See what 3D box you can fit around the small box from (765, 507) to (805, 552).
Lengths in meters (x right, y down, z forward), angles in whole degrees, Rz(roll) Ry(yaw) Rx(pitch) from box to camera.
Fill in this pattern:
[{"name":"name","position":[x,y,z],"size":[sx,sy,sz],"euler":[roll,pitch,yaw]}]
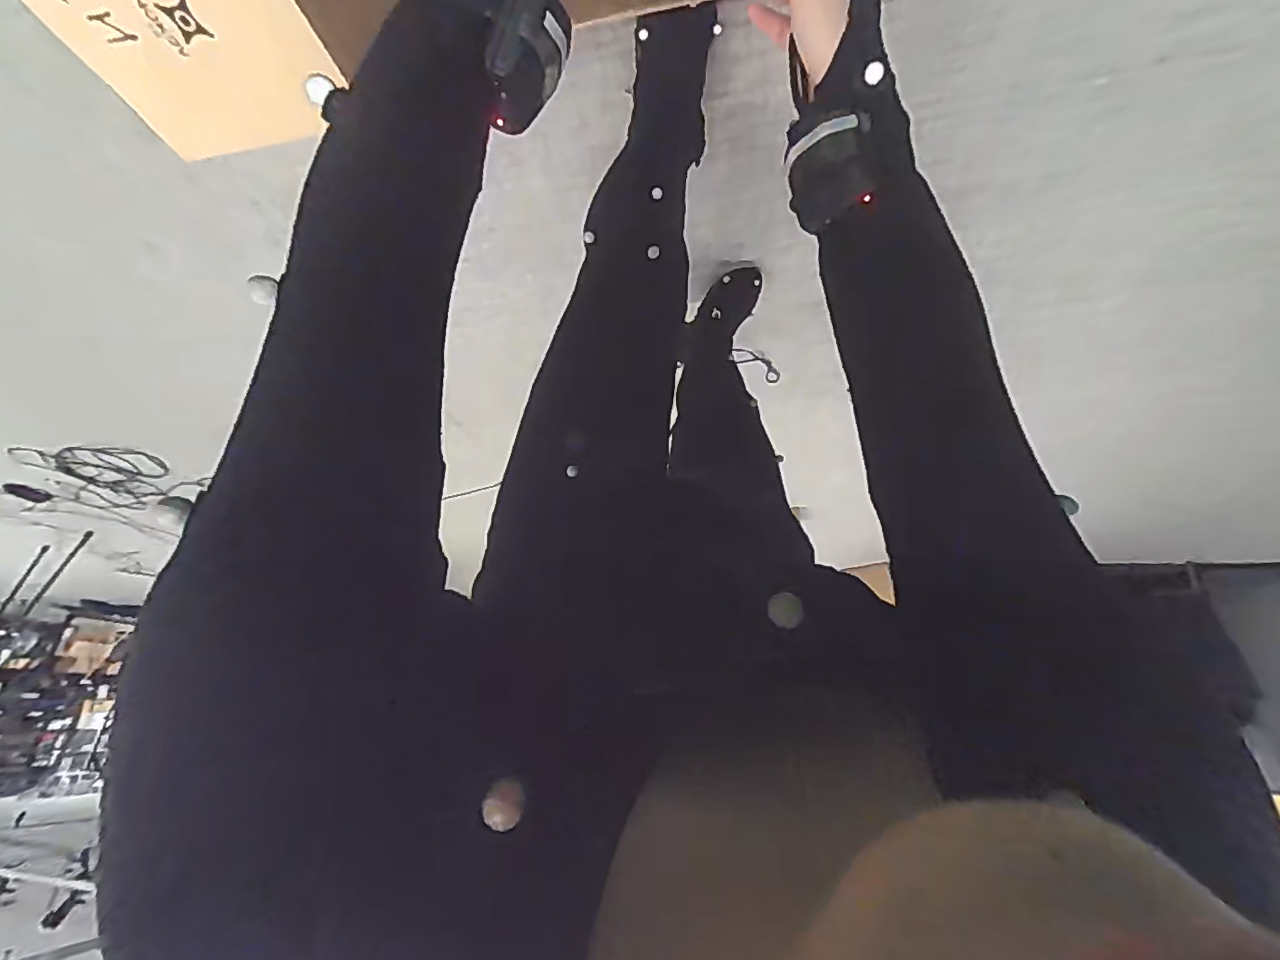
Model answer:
[{"name":"small box","position":[0.679,0.231,2.533],"size":[0.179,0.176,0.168],"euler":[-4,155,15]}]
